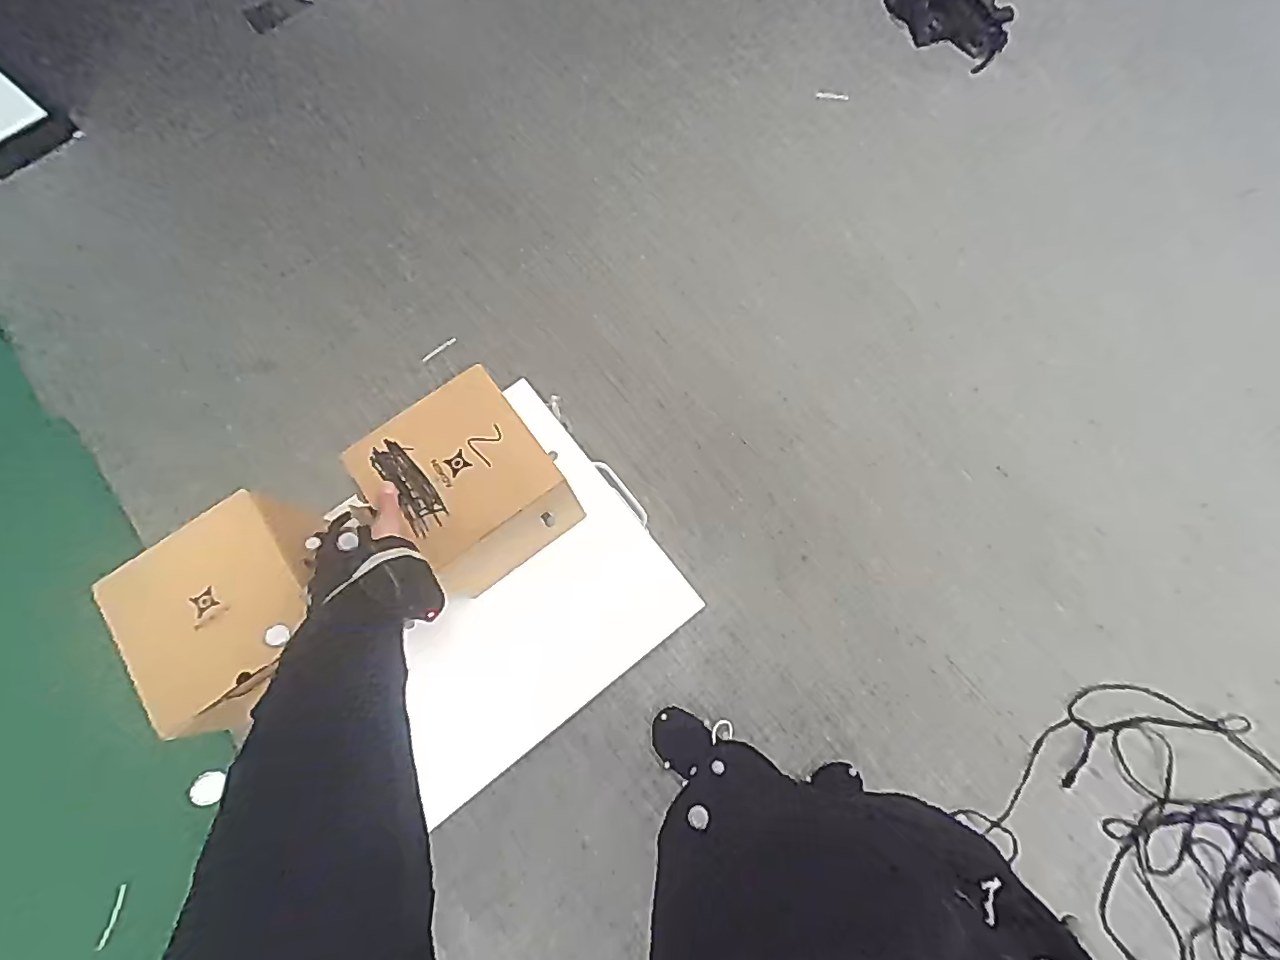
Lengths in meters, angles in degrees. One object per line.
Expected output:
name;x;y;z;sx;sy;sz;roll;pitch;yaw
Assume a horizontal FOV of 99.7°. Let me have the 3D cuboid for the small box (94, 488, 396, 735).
small box;-0.407;0.141;0.587;0.168;0.176;0.179;-37;76;-10
